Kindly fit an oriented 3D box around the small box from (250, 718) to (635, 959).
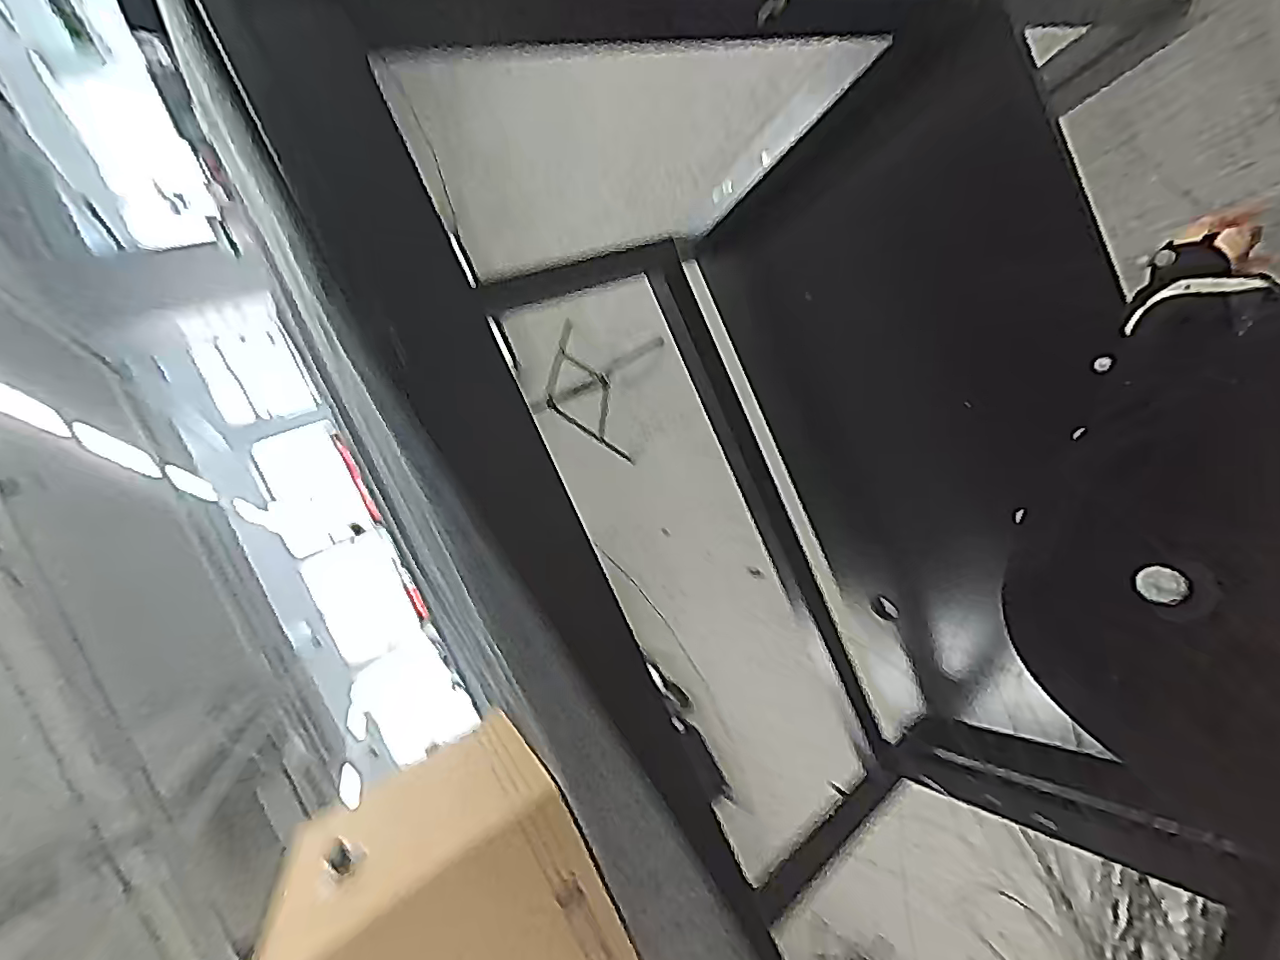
[{"bbox_3d":[-0.118,0.290,0.359,0.168,0.176,0.179,66,155,-4],"label":"small box"}]
